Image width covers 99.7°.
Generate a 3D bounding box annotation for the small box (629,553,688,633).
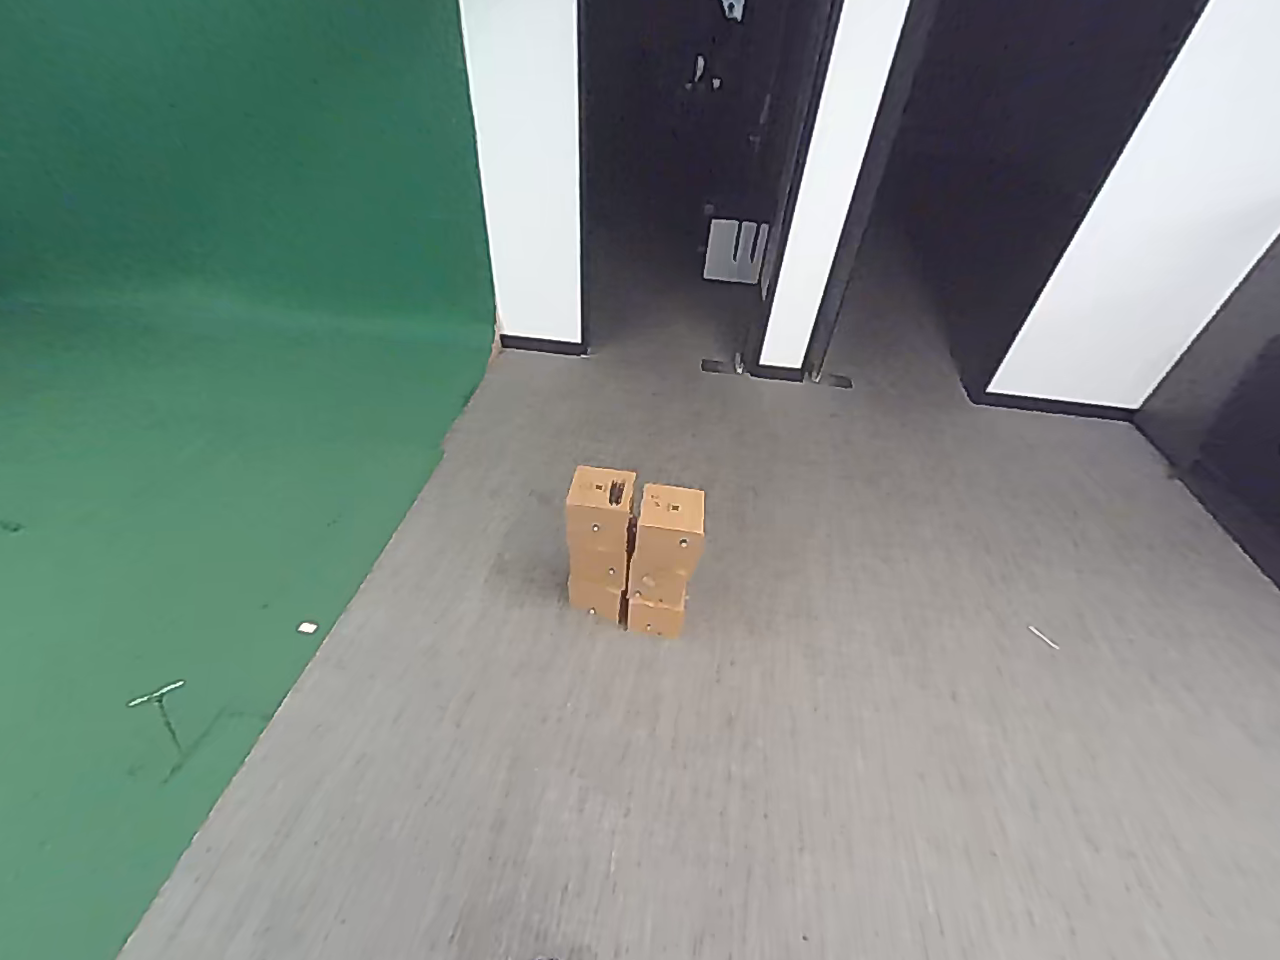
[{"bbox_3d":[0.058,0.364,1.740,0.168,0.176,0.179,8,44,4],"label":"small box"}]
